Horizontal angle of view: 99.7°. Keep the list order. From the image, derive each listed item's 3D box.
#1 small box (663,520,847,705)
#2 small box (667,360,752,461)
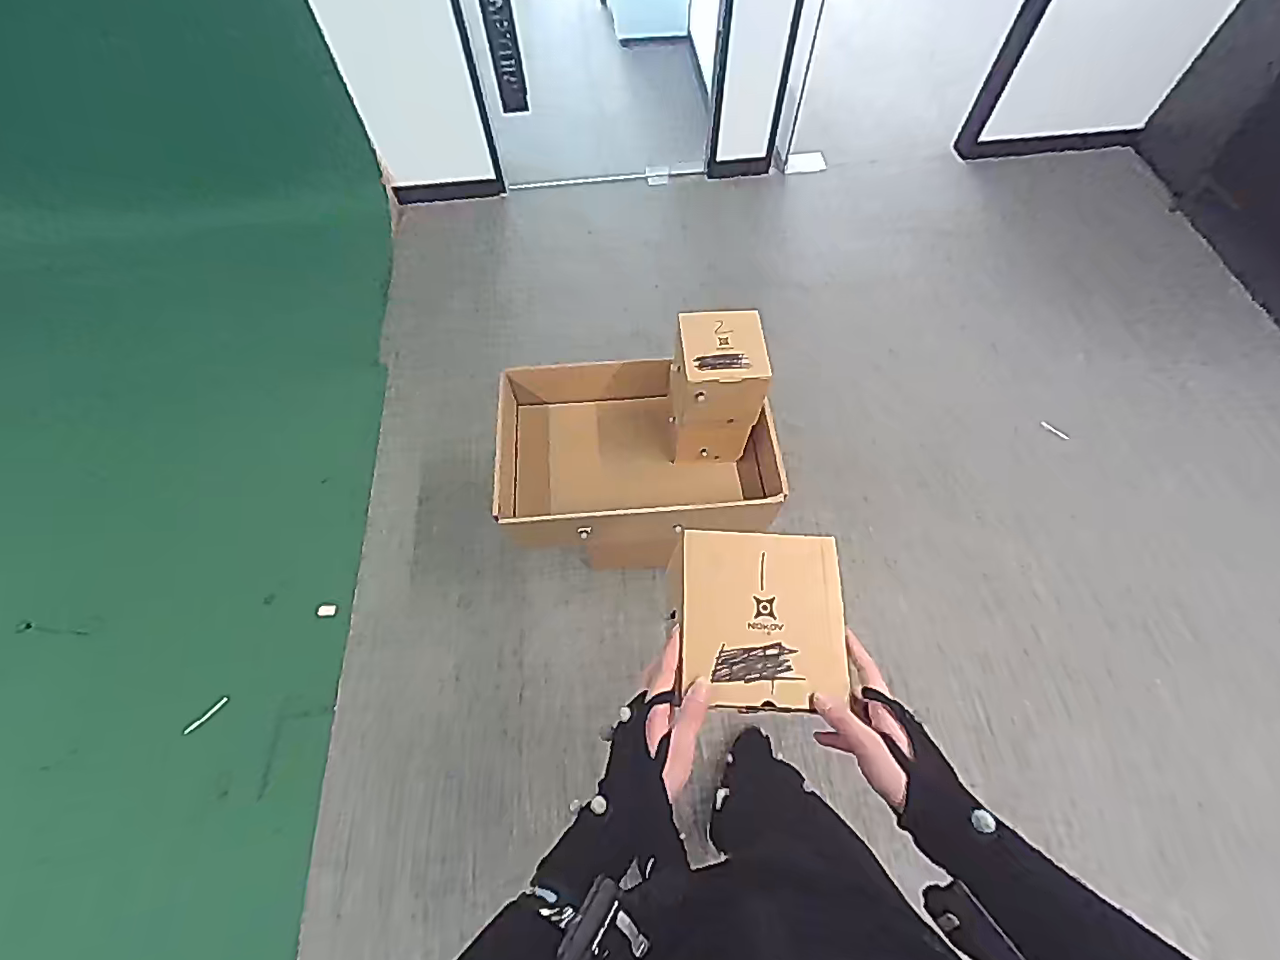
[{"bbox_3d":[0.117,0.158,0.616,0.168,0.176,0.179,4,67,-2],"label":"small box"},{"bbox_3d":[0.156,-0.161,1.281,0.168,0.176,0.179,-3,63,-2],"label":"small box"}]
